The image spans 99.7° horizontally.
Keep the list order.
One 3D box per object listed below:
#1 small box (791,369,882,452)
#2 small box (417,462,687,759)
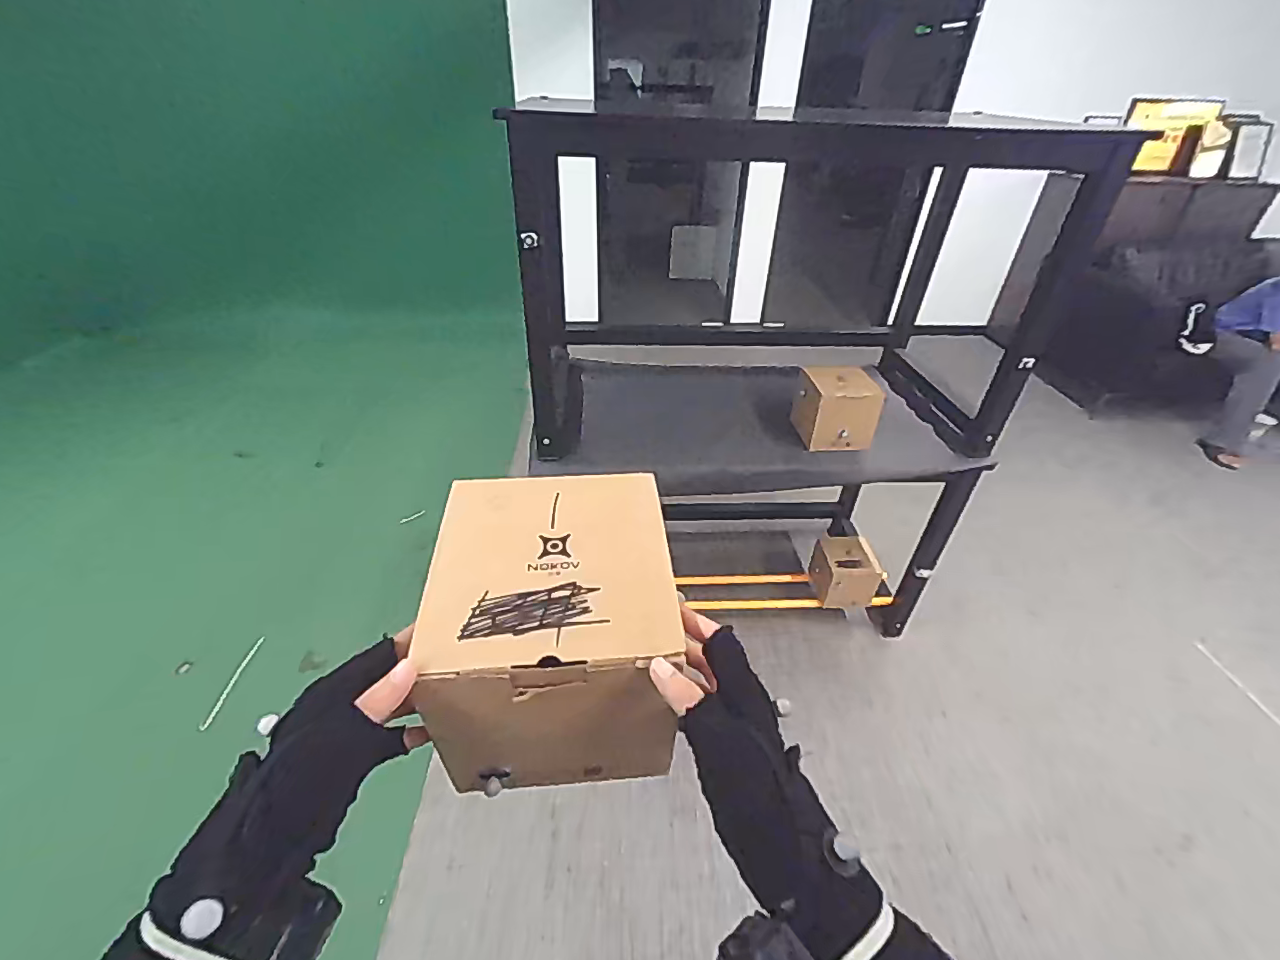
[{"bbox_3d":[0.525,-0.190,1.472,0.168,0.176,0.179,-1,35,-4],"label":"small box"},{"bbox_3d":[-0.059,0.104,0.435,0.168,0.176,0.179,-1,38,-5],"label":"small box"}]
